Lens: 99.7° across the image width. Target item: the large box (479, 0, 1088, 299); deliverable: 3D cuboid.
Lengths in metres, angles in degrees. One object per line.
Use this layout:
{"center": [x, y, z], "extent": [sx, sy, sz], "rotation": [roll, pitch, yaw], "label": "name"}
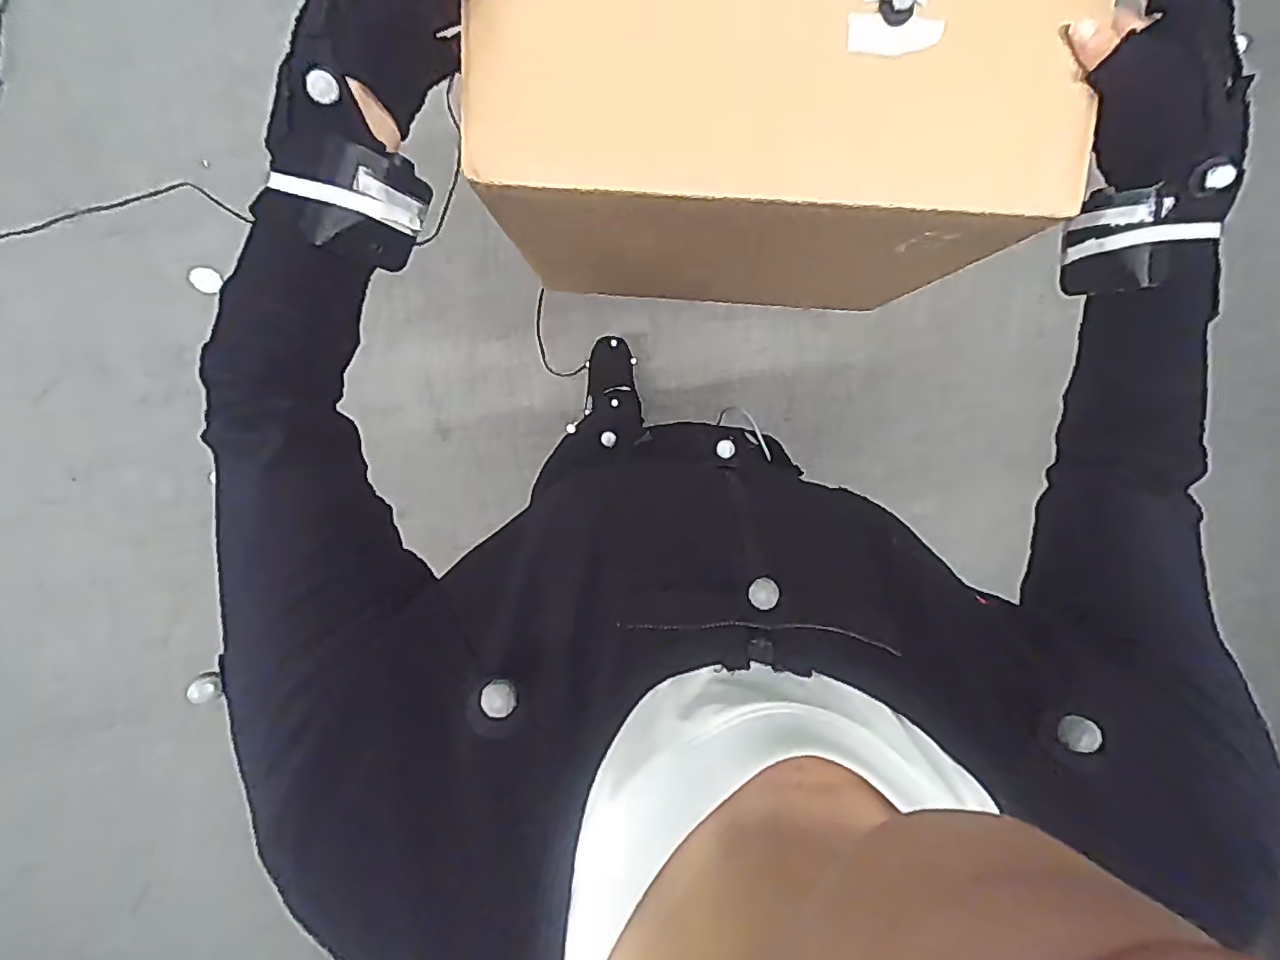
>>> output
{"center": [0.092, -0.362, 0.497], "extent": [0.408, 0.320, 0.320], "rotation": [3, 97, 0], "label": "large box"}
